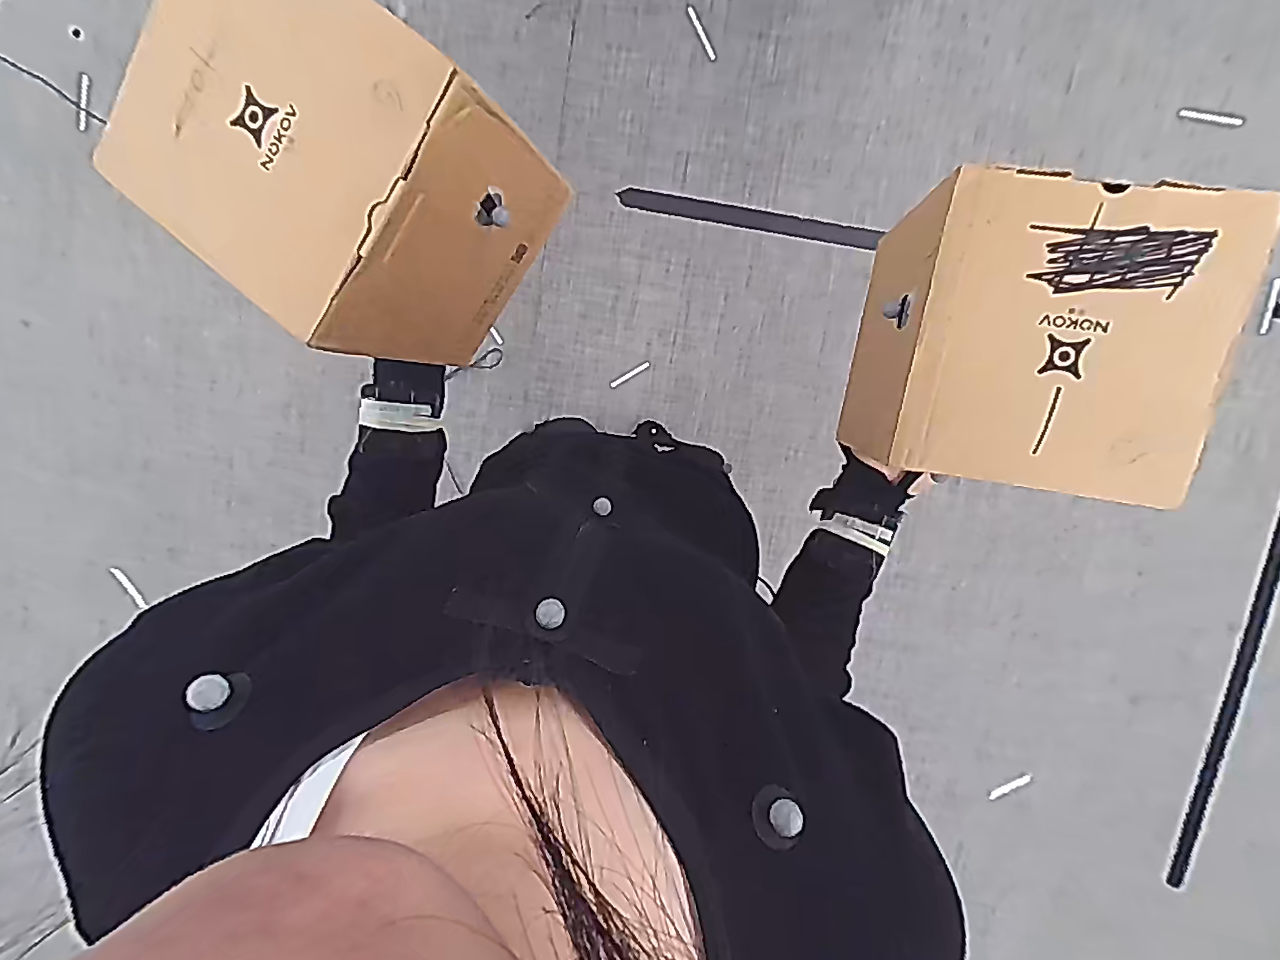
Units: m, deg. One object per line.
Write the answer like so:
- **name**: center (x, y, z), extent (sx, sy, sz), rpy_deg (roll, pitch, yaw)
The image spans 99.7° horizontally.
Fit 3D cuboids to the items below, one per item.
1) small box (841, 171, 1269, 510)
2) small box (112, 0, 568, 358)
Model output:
- **small box**: center (0.259, -0.093, 0.394), extent (0.168, 0.176, 0.179), rpy_deg (10, 102, 7)
- **small box**: center (-0.177, -0.198, 0.367), extent (0.179, 0.176, 0.168), rpy_deg (39, 103, 5)
